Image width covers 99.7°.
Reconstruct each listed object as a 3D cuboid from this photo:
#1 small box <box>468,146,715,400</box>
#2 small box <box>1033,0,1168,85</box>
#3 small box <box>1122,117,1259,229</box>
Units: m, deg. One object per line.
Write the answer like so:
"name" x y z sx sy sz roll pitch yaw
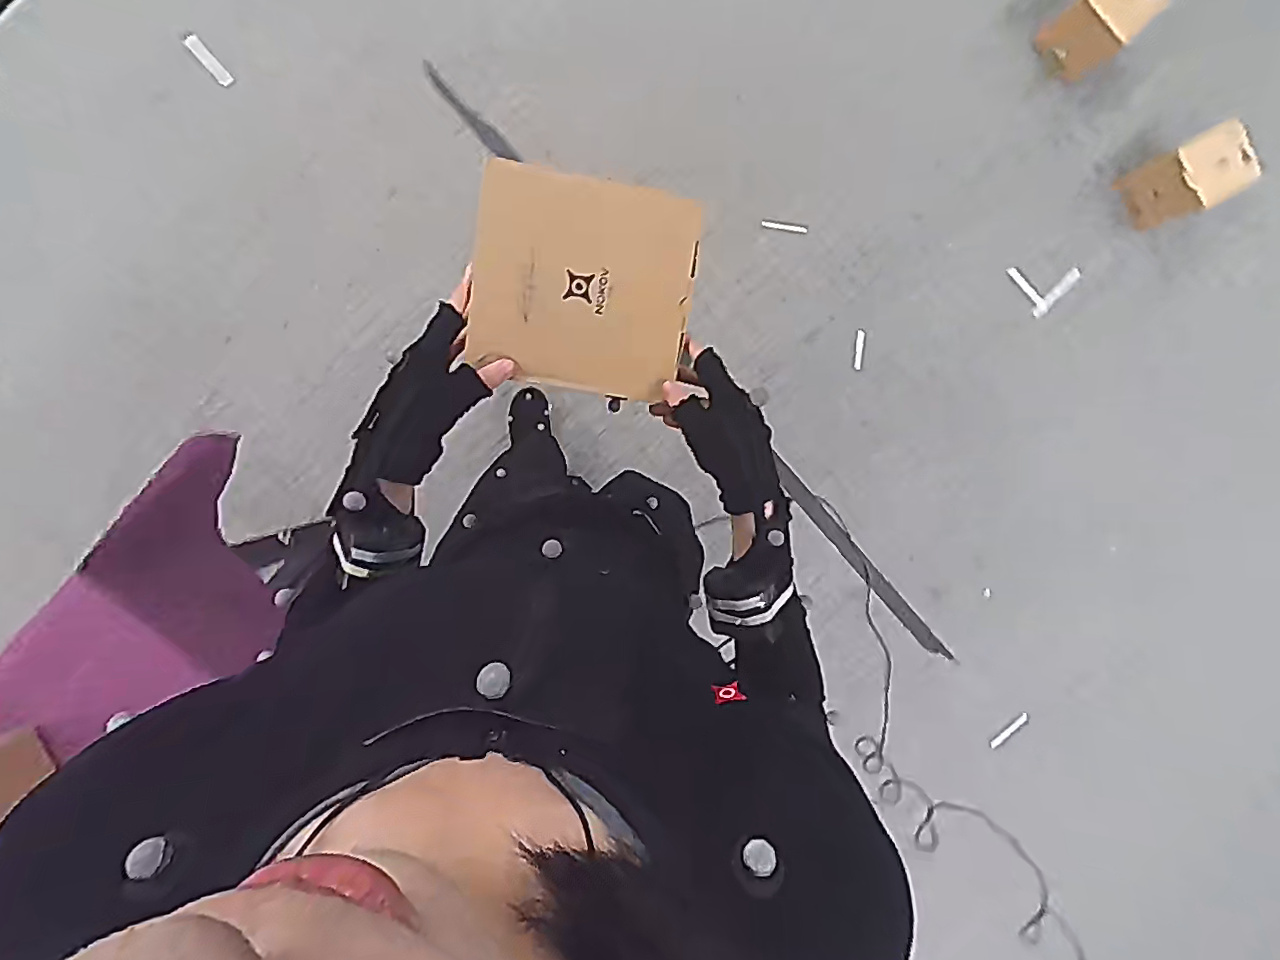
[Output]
"small box" -0.046 -0.170 0.502 0.179 0.176 0.168 8 97 -6
"small box" 1.179 -1.188 1.394 0.179 0.176 0.168 -45 94 2
"small box" 1.441 -0.801 1.433 0.179 0.176 0.168 -29 95 1
